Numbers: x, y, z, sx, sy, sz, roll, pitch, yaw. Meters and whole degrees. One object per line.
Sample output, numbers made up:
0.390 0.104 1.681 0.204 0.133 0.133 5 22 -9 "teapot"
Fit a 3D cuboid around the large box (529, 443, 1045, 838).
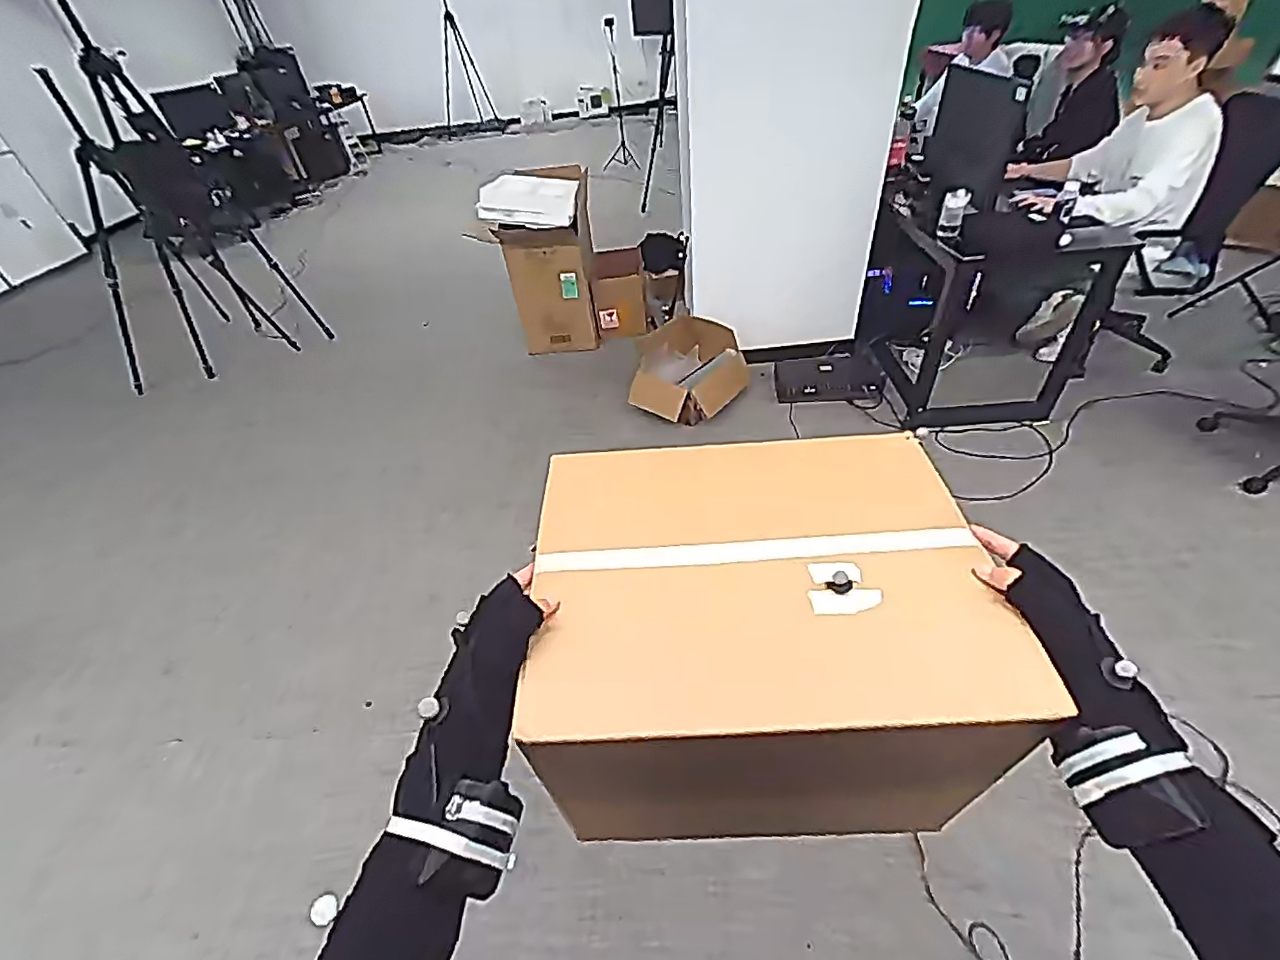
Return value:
0.114 0.184 0.619 0.408 0.320 0.320 -4 44 2 "large box"
